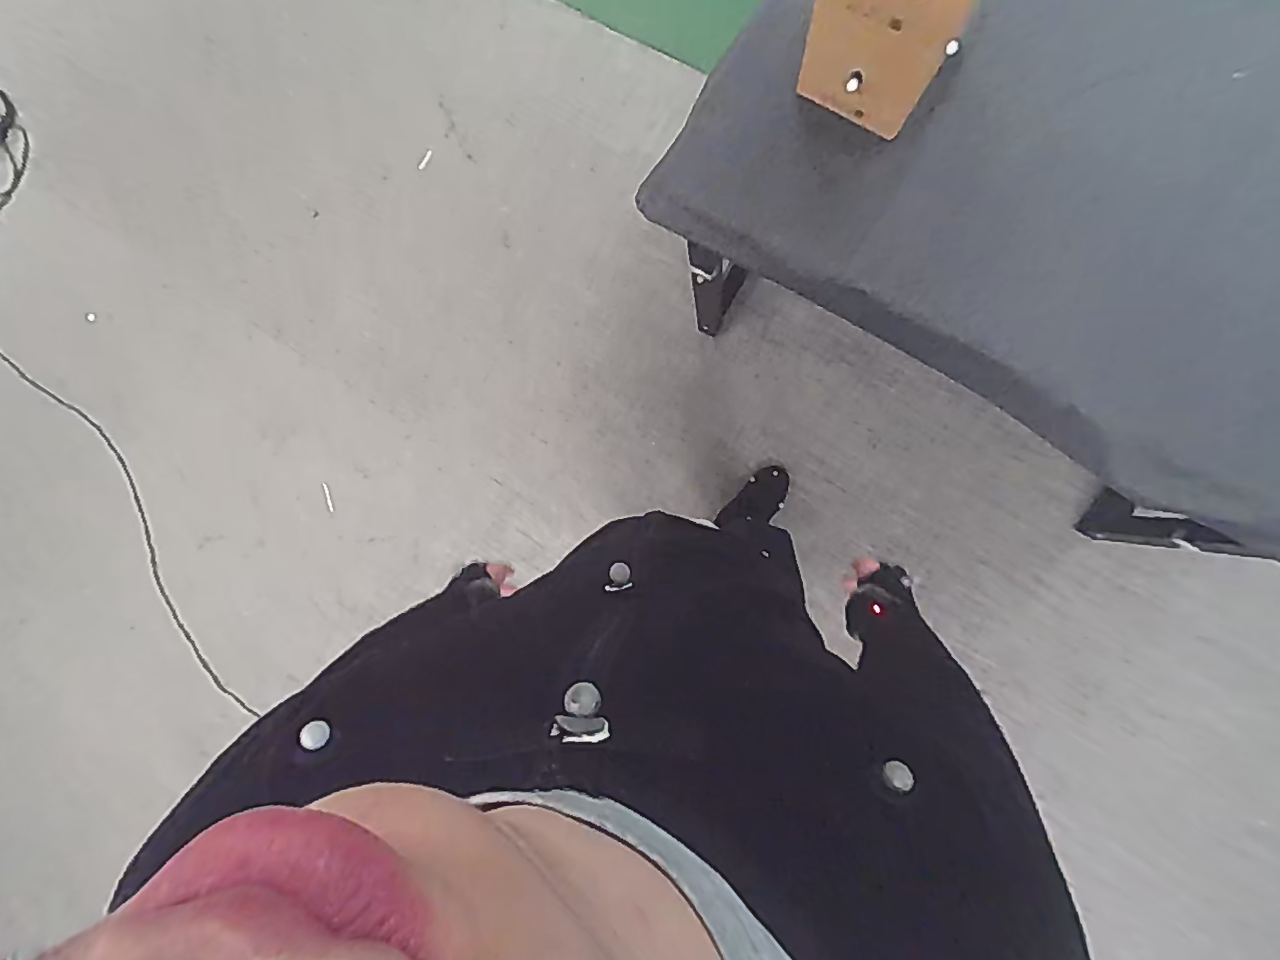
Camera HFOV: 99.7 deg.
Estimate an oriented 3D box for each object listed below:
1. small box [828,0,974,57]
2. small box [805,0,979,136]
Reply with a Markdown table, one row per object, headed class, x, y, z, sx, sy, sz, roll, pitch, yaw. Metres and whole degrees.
| class | x | y | z | sx | sy | sz | roll | pitch | yaw |
| --- | --- | --- | --- | --- | --- | --- | --- | --- | --- |
| small box | 0.312 | -0.607 | 0.566 | 0.168 | 0.176 | 0.179 | 30 | 92 | 6 |
| small box | 0.341 | -0.615 | 0.727 | 0.168 | 0.176 | 0.179 | 33 | 93 | 7 |
